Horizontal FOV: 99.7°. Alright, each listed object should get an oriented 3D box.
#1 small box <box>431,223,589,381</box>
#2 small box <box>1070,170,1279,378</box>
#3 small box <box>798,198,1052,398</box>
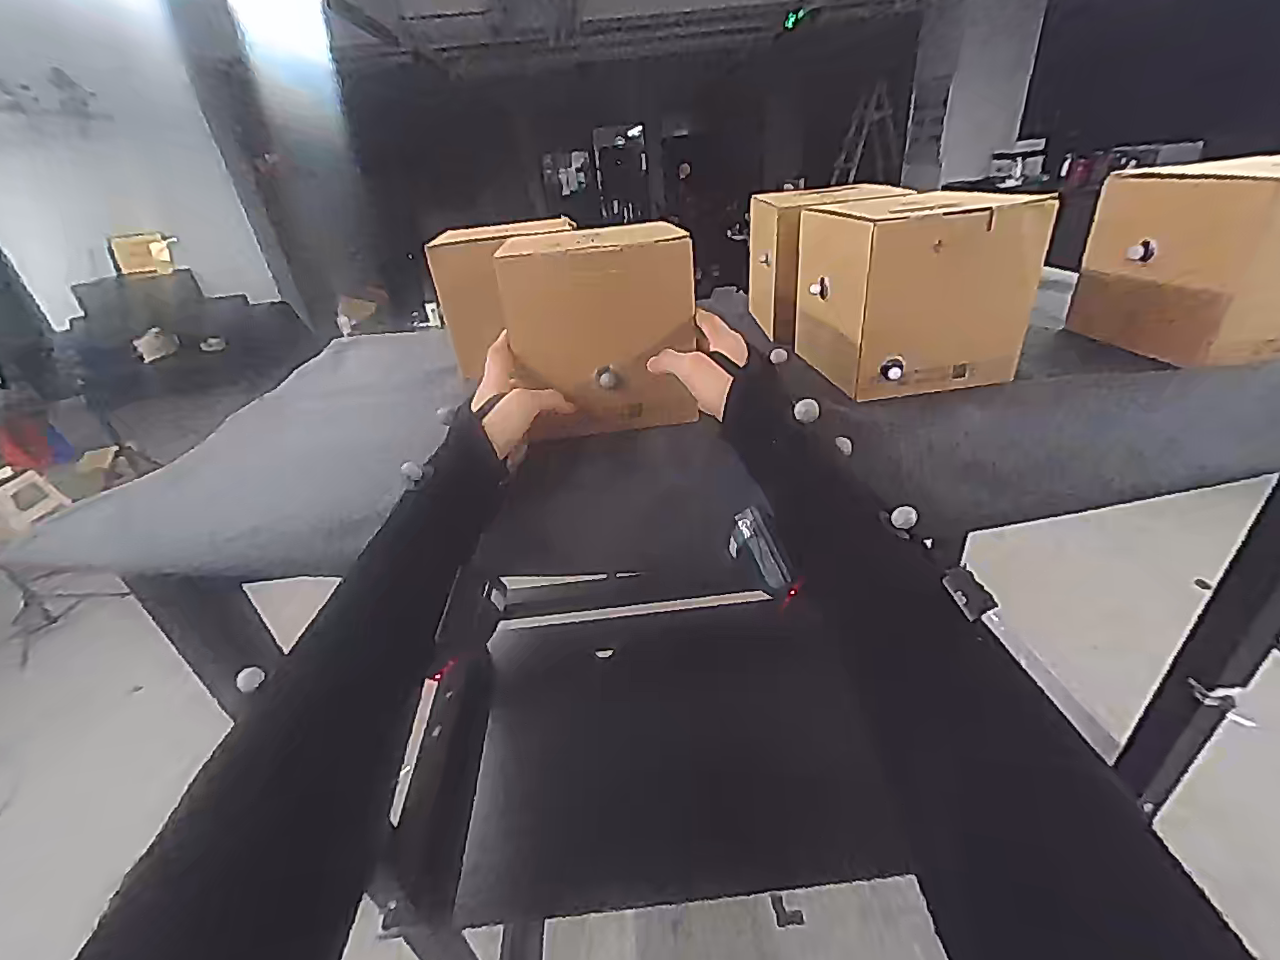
[{"bbox_3d":[-0.165,-0.248,0.748,0.179,0.176,0.168,-8,31,-4],"label":"small box"},{"bbox_3d":[0.597,-0.214,0.554,0.168,0.176,0.179,-8,29,-1],"label":"small box"},{"bbox_3d":[0.279,-0.193,0.577,0.168,0.176,0.179,-8,30,-3],"label":"small box"}]
